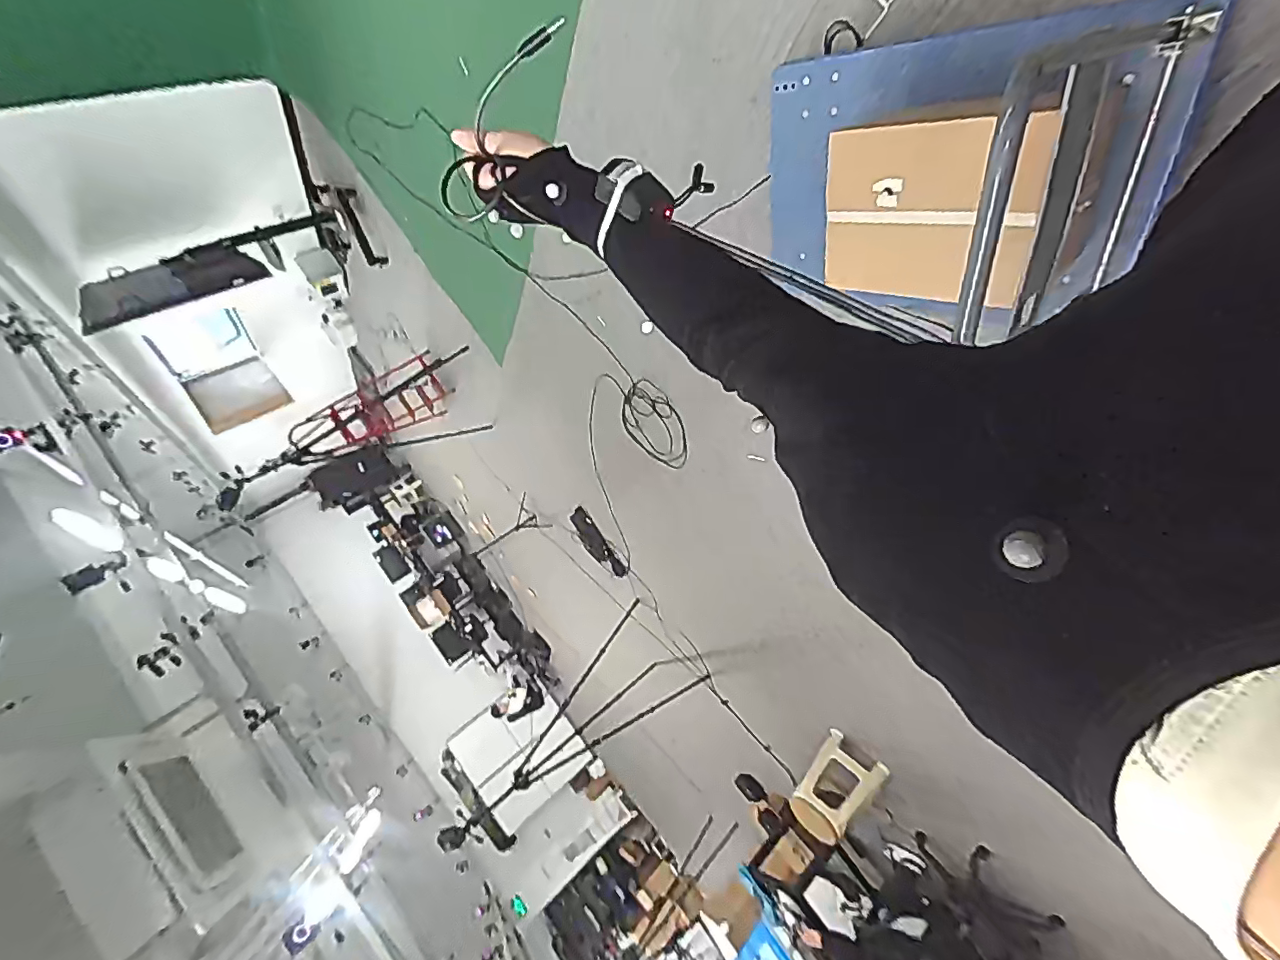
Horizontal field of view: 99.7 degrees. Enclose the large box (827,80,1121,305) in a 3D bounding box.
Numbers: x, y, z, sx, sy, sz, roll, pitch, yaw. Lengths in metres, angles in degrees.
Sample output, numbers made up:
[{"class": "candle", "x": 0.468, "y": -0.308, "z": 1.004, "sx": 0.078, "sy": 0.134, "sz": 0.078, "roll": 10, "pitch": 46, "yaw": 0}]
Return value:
[{"class": "large box", "x": 0.650, "y": -0.583, "z": 1.108, "sx": 0.408, "sy": 0.320, "sz": 0.320, "roll": 28, "pitch": 140, "yaw": 42}]
